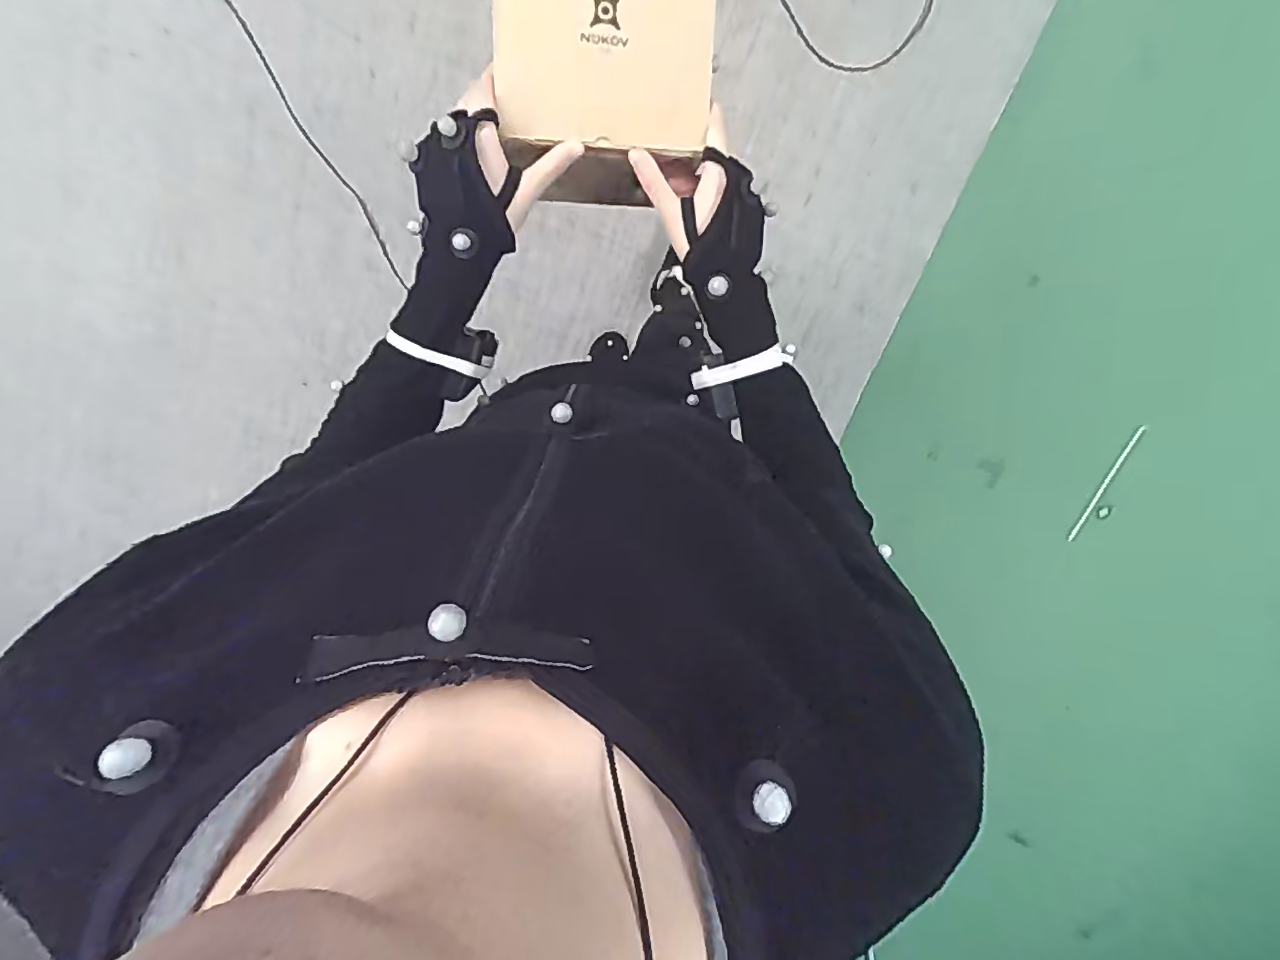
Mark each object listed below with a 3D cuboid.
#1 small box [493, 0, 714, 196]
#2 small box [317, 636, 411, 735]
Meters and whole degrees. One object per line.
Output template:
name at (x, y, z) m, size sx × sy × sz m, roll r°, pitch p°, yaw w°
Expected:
small box at (-0.033, -0.369, 0.476) m, size 0.168 × 0.176 × 0.179 m, roll 1°, pitch 102°, yaw -7°
small box at (-0.779, 0.581, 1.543) m, size 0.168 × 0.176 × 0.179 m, roll 22°, pitch 104°, yaw -9°
